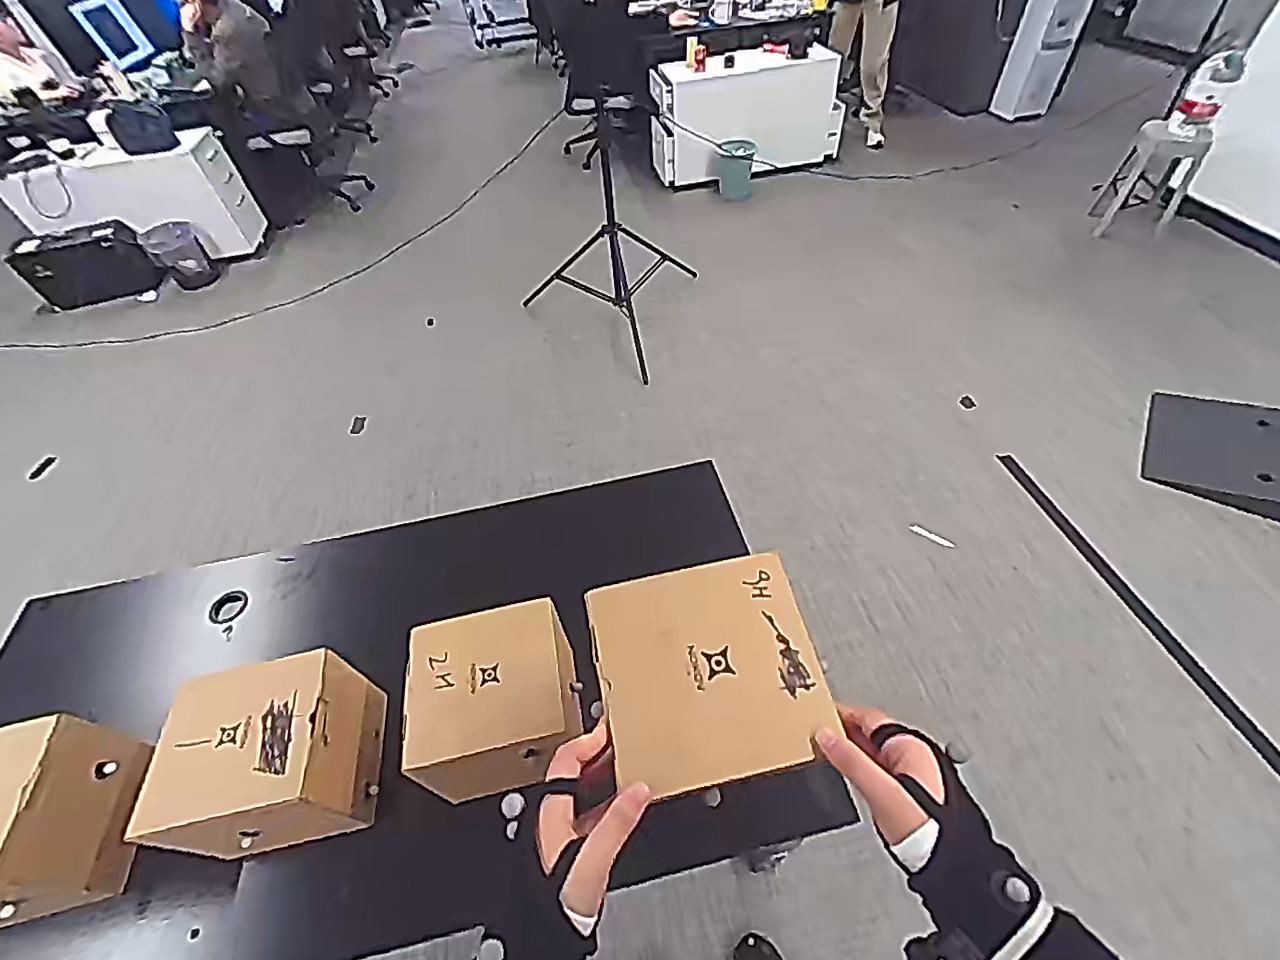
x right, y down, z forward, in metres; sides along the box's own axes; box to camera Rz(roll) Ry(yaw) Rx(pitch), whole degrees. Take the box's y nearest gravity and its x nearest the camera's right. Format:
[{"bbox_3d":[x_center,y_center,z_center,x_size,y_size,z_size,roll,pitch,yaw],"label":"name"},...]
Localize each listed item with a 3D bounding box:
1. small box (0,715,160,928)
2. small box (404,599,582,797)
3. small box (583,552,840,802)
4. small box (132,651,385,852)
[{"bbox_3d":[-0.722,0.403,0.632,0.179,0.176,0.168,-14,49,-6],"label":"small box"},{"bbox_3d":[-0.173,0.277,0.683,0.179,0.176,0.168,-12,49,-5],"label":"small box"},{"bbox_3d":[0.055,0.190,0.504,0.179,0.176,0.168,-11,59,-4],"label":"small box"},{"bbox_3d":[-0.437,0.334,0.661,0.179,0.176,0.168,-12,49,-3],"label":"small box"}]
